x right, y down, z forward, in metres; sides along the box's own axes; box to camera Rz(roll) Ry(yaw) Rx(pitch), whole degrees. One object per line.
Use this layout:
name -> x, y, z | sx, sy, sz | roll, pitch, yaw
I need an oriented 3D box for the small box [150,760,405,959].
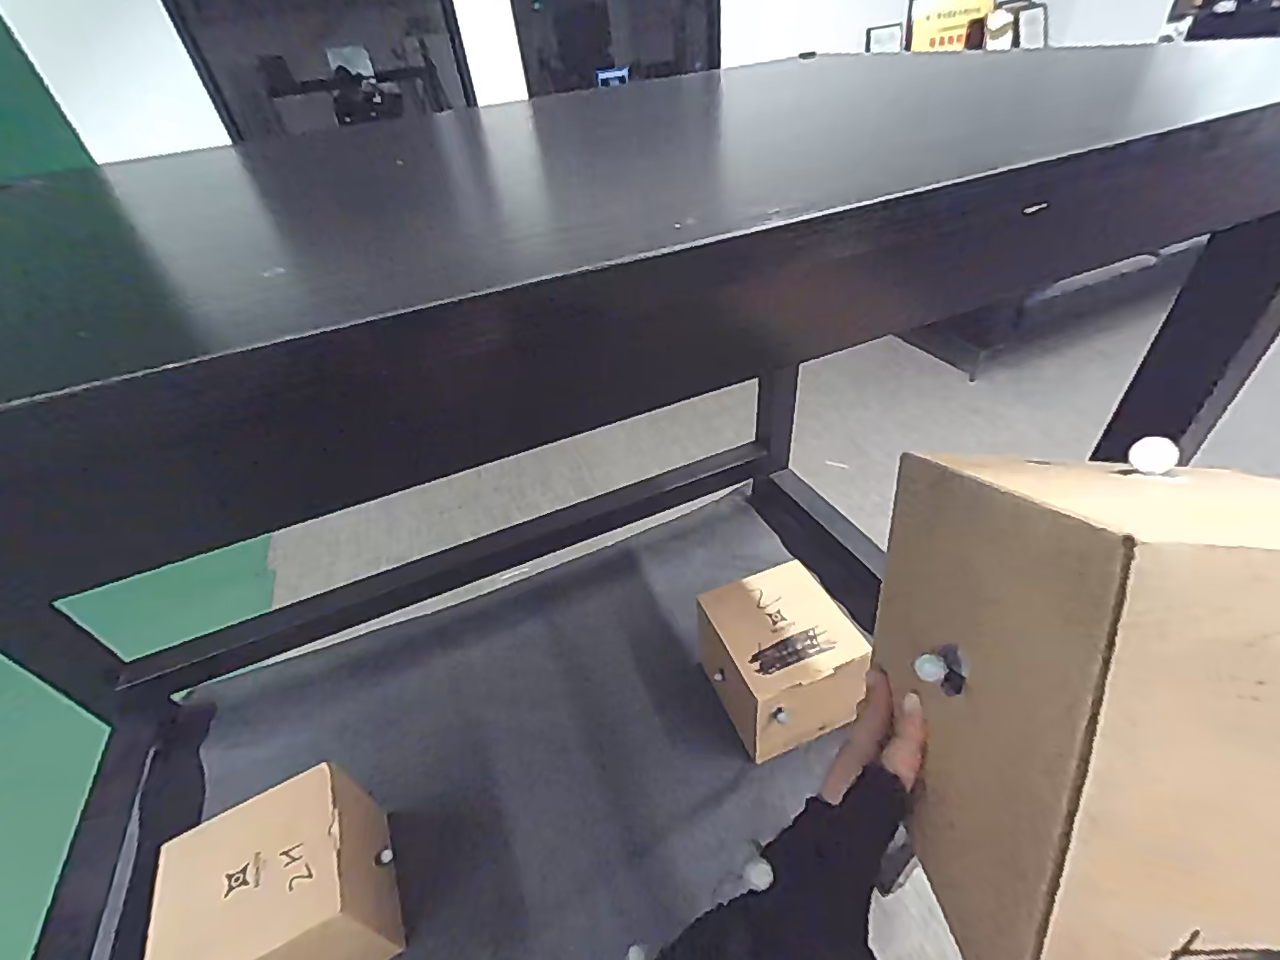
small box -> -0.391, 0.465, 0.607 | 0.179, 0.176, 0.168 | -22, 42, -18
